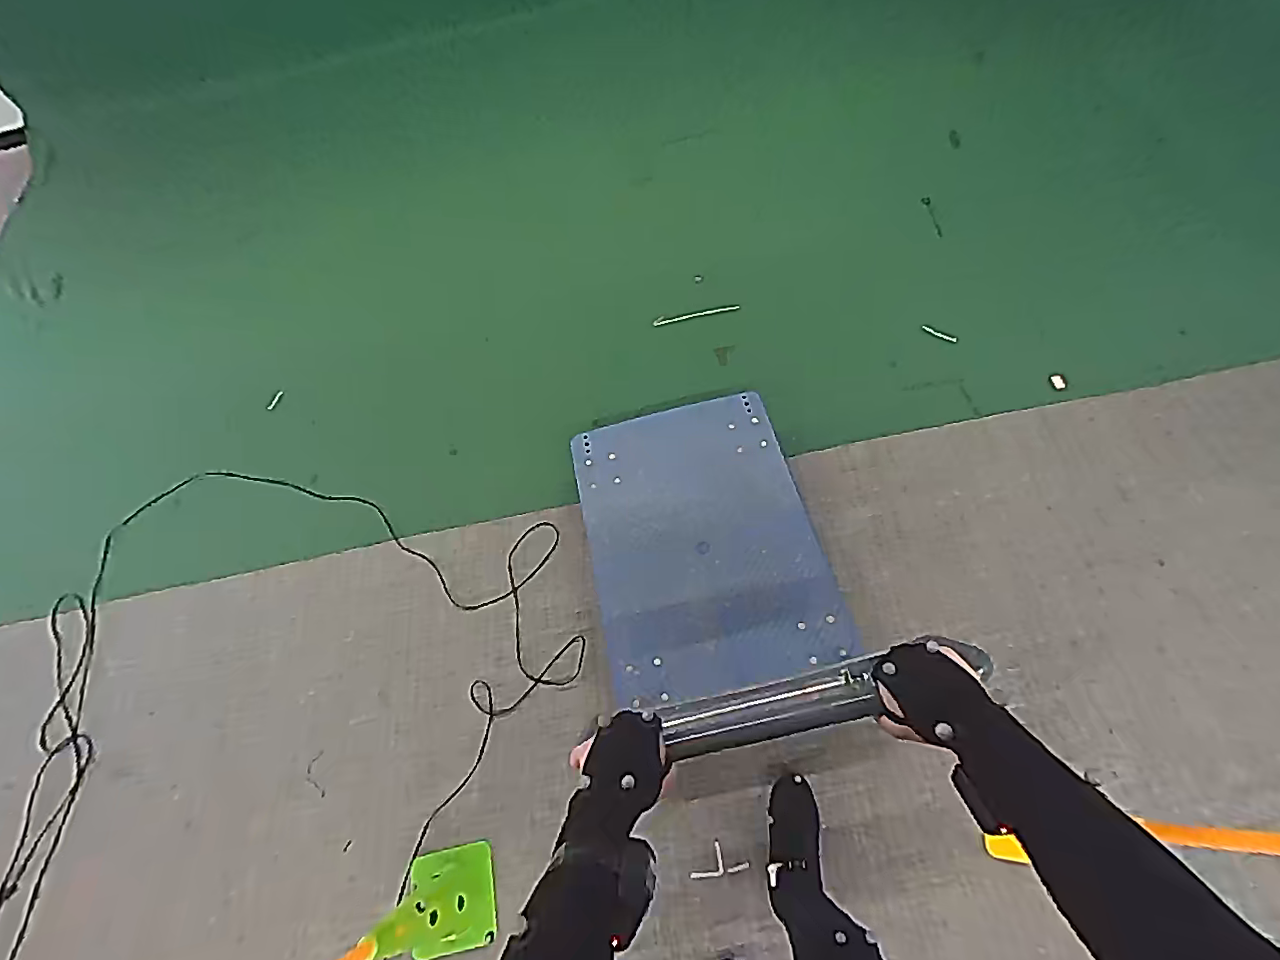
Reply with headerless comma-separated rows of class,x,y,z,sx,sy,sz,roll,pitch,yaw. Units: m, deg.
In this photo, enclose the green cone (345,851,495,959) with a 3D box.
green cone,-0.466,0.917,1.103,0.202,0.368,0.200,-16,61,2
